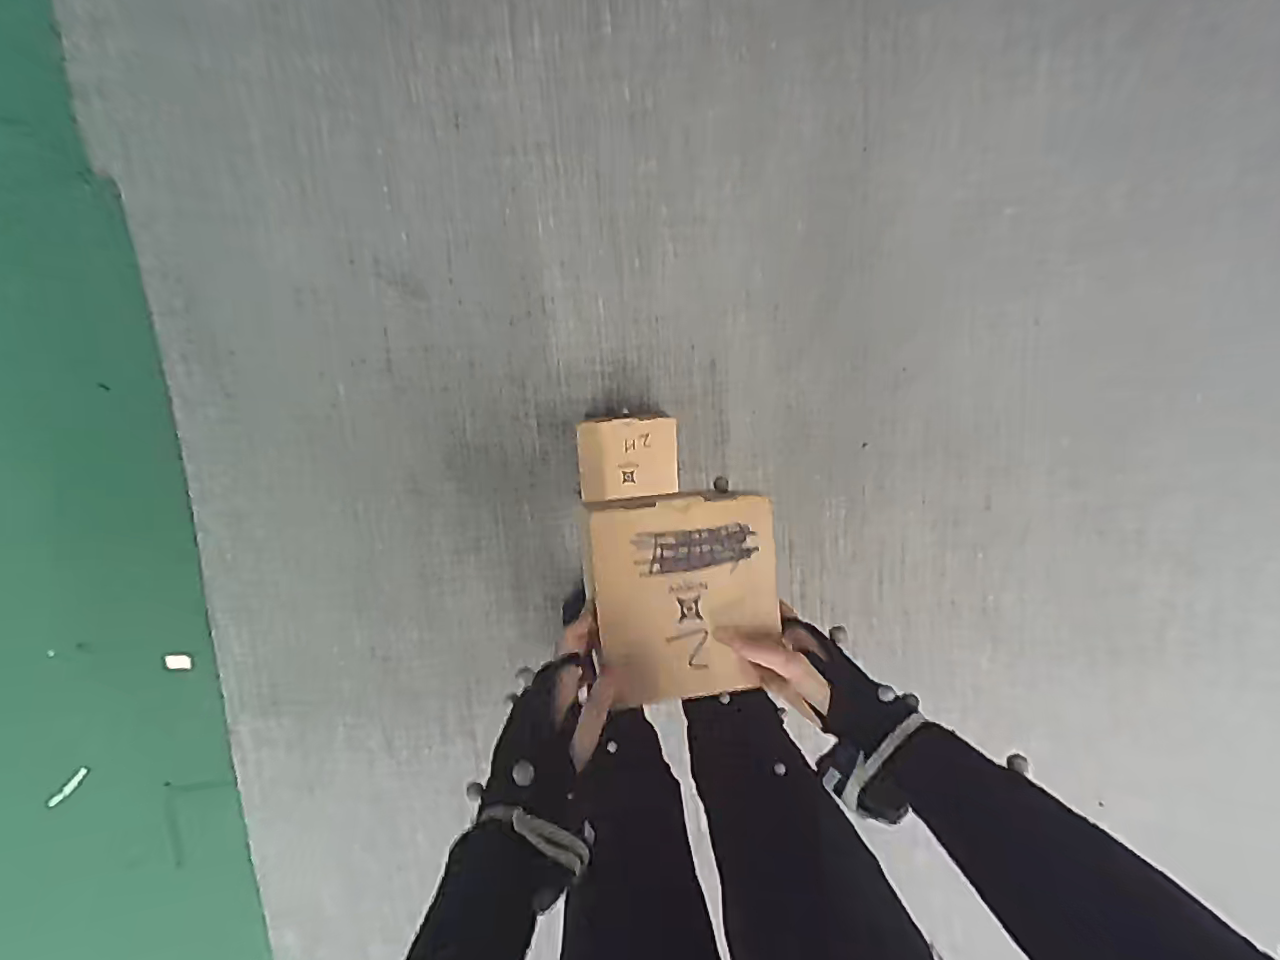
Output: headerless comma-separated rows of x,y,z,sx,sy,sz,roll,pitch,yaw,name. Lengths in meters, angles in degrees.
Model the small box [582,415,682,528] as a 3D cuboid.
-0.013,-0.022,0.977,0.168,0.176,0.179,-3,100,-1,small box
